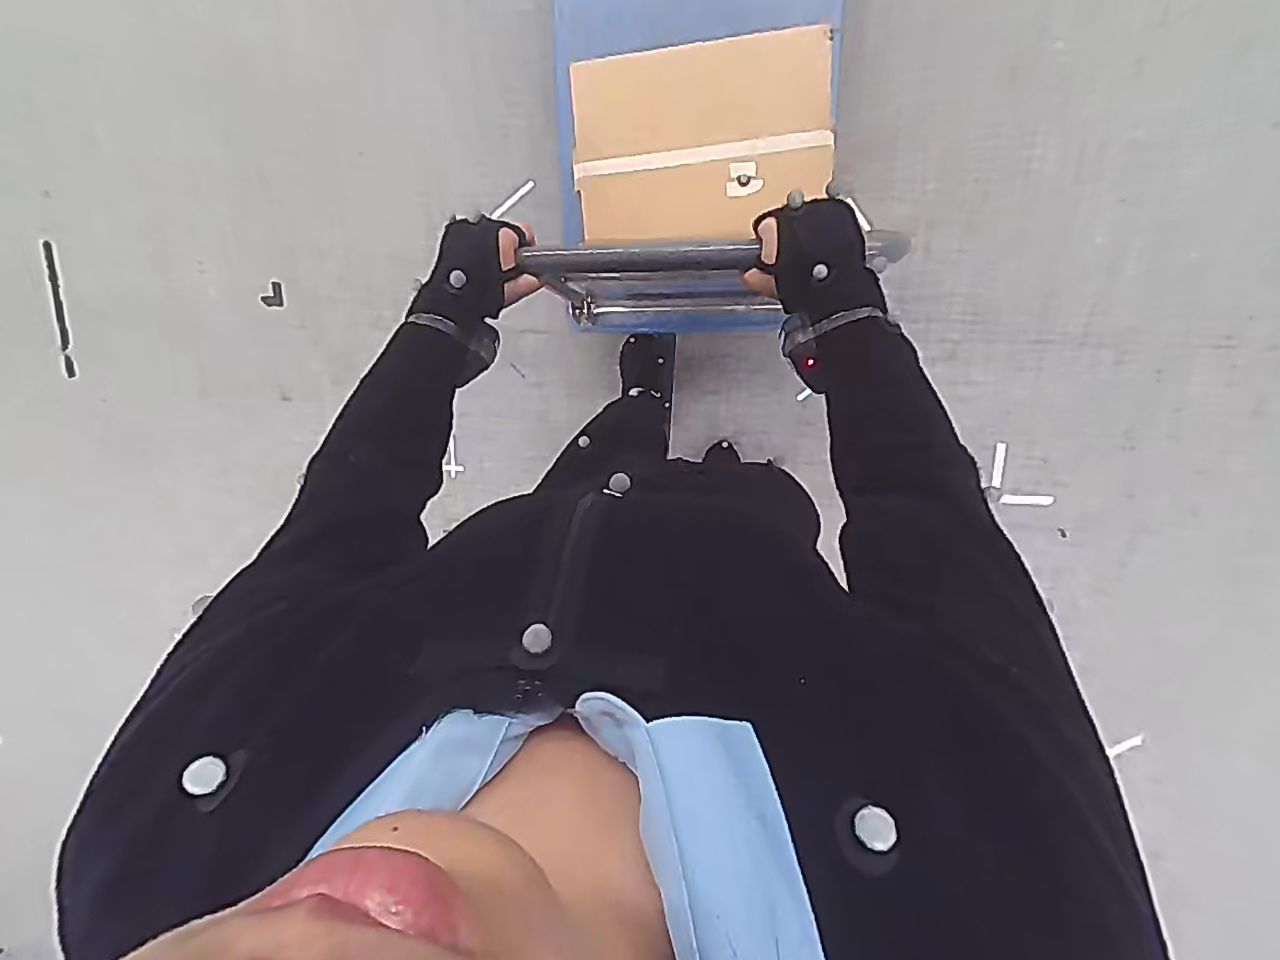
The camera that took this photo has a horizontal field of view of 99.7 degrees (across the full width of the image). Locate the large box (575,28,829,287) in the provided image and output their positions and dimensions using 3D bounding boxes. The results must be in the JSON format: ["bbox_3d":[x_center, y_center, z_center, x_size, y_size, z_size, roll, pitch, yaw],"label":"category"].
[{"bbox_3d":[0.117,-0.562,1.024,0.408,0.320,0.320,-3,104,8],"label":"large box"}]
